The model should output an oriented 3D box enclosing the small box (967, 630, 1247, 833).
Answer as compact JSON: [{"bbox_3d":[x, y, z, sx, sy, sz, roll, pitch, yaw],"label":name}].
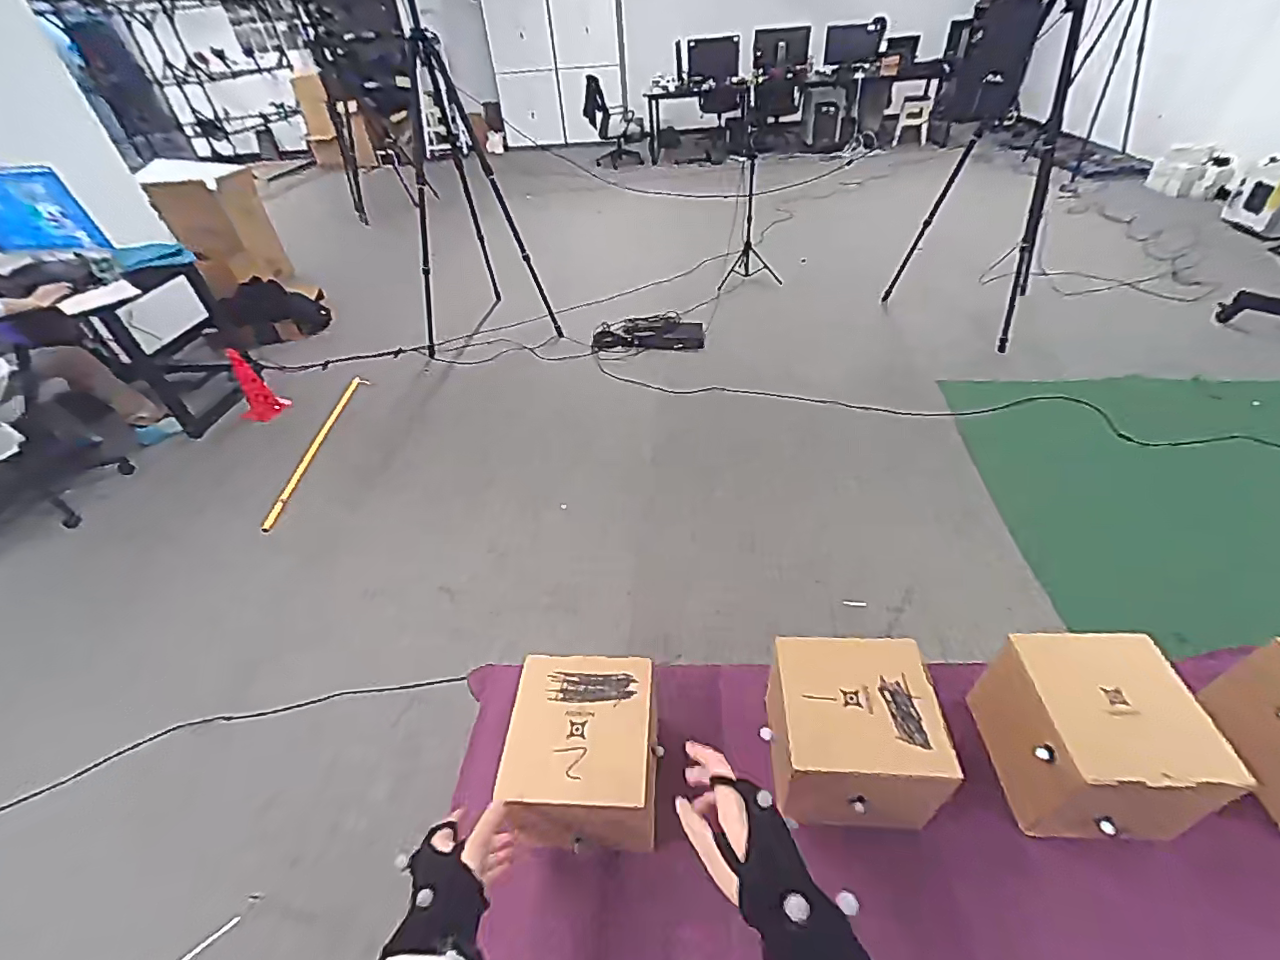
[{"bbox_3d":[0.537,0.305,0.662,0.168,0.176,0.179,-2,42,5],"label":"small box"}]

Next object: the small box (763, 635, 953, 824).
[{"bbox_3d":[0.256,0.315,0.684,0.179,0.176,0.168,-2,41,7],"label":"small box"}]

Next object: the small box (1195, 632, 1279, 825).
[{"bbox_3d":[0.824,0.298,0.626,0.168,0.176,0.179,-1,44,7],"label":"small box"}]
